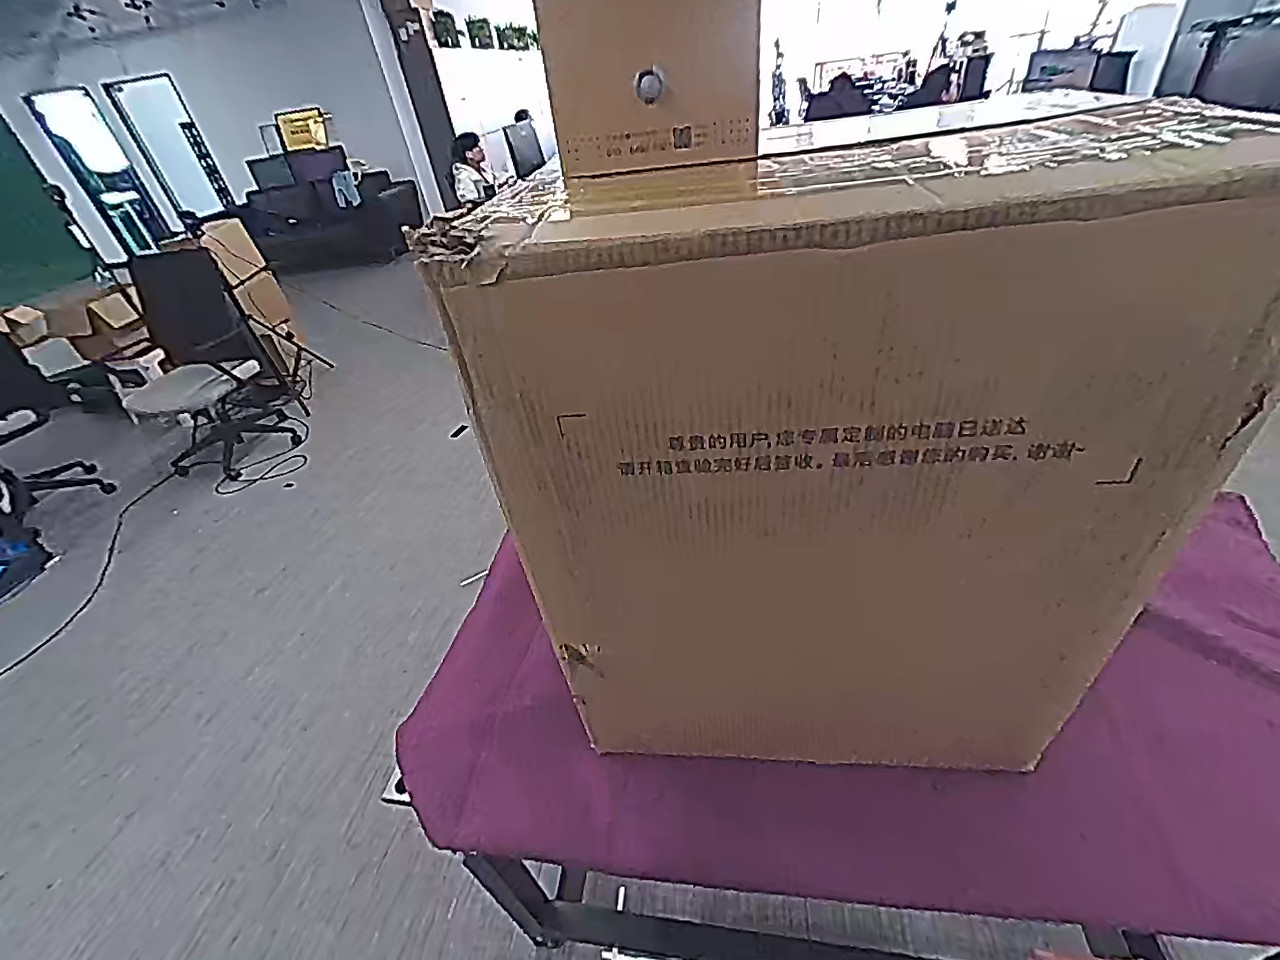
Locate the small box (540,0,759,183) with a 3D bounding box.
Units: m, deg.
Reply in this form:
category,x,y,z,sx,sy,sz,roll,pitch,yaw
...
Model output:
category,x,y,z,sx,sy,sz,roll,pitch,yaw
small box,0.016,-0.371,0.476,0.168,0.176,0.179,-2,38,9
